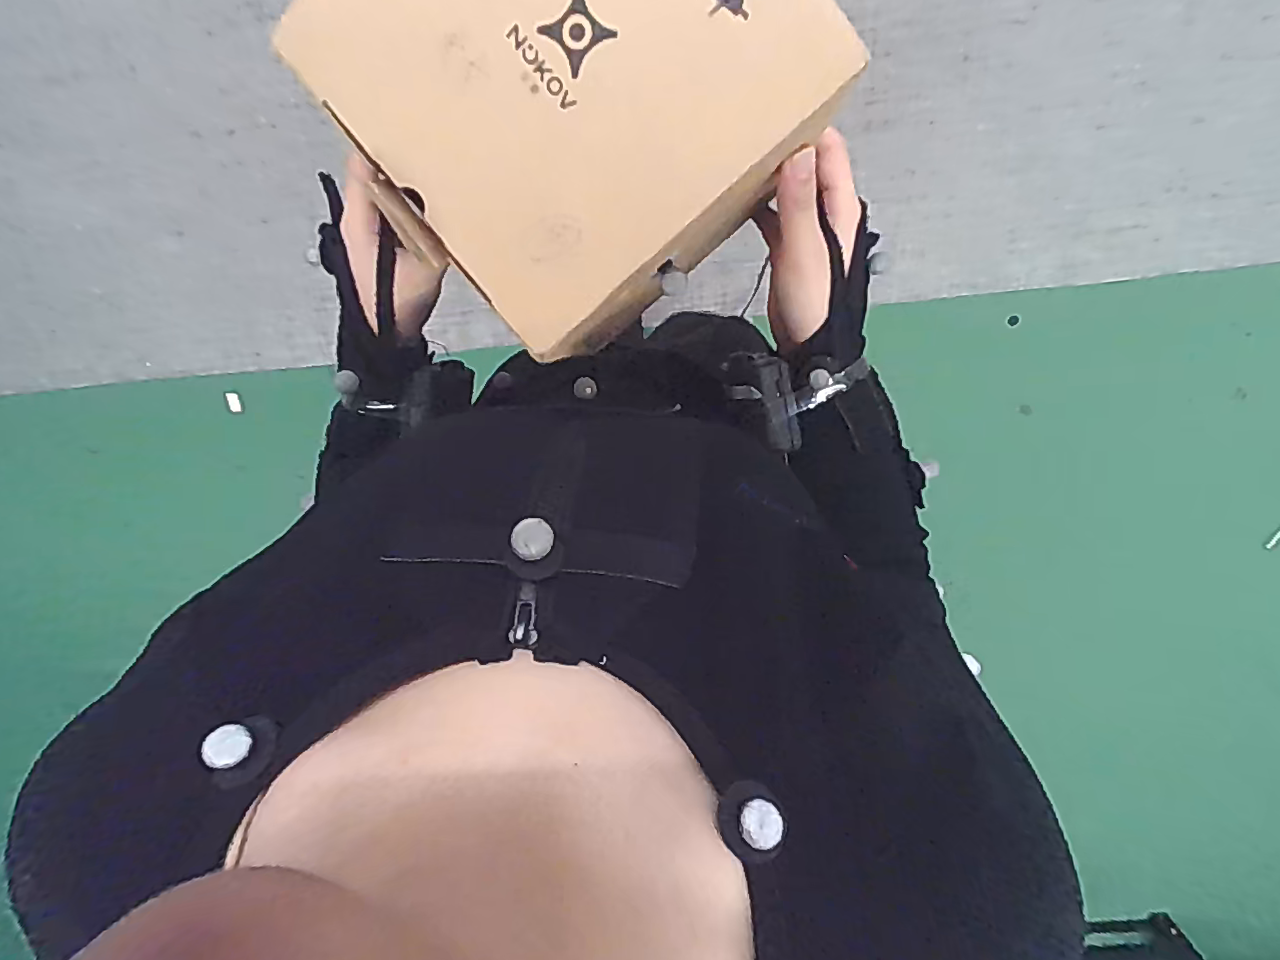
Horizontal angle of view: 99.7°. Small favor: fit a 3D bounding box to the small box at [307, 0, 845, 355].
[{"bbox_3d":[-0.024,-0.187,0.304,0.179,0.176,0.168,-39,97,11],"label":"small box"}]
